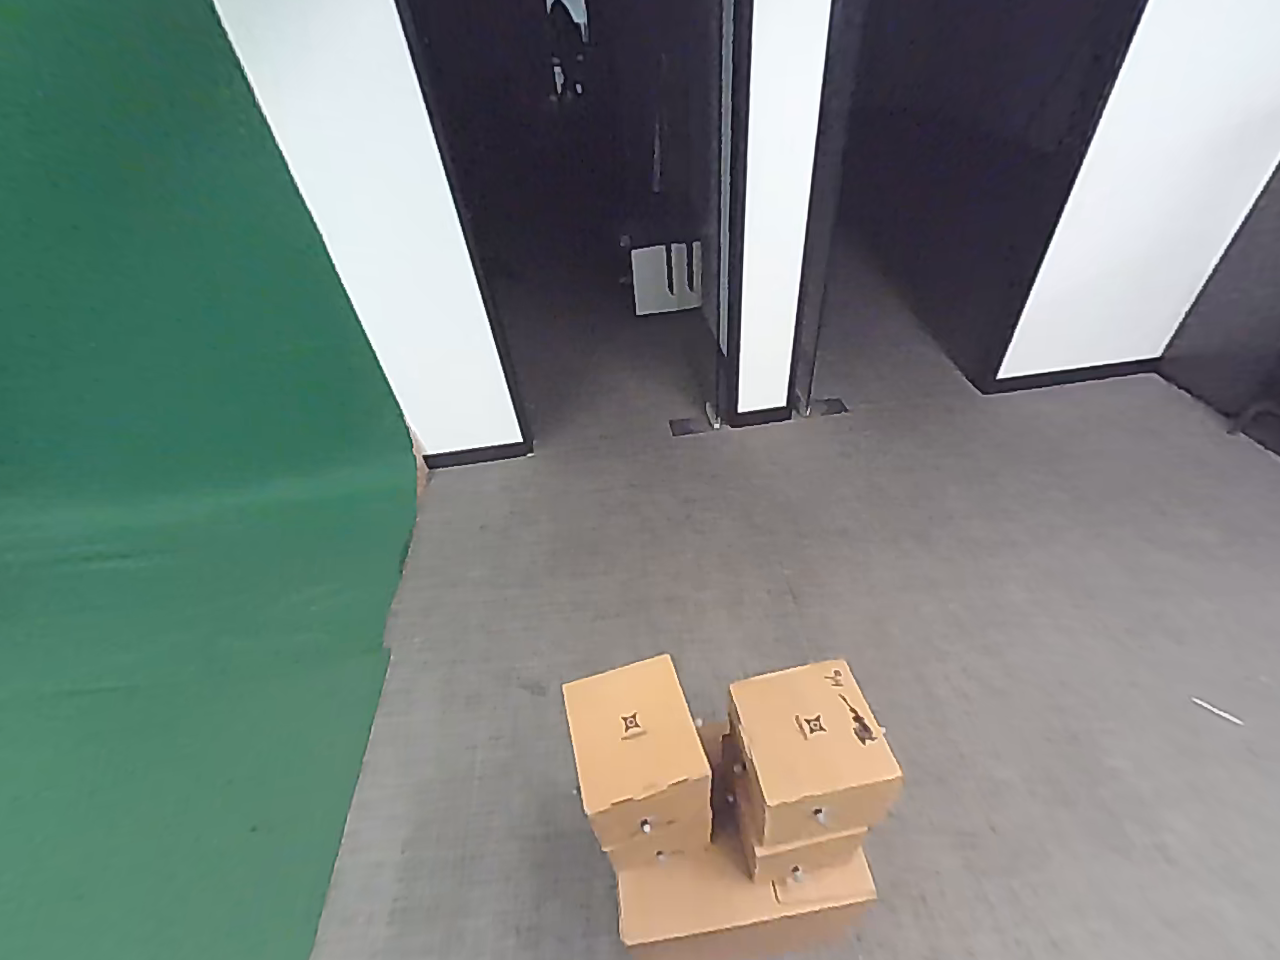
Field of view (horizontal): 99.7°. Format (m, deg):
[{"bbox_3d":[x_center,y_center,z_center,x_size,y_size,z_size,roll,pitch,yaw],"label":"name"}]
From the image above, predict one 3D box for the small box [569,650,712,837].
[{"bbox_3d":[-0.003,0.387,0.798,0.168,0.176,0.179,-13,44,-9],"label":"small box"}]
